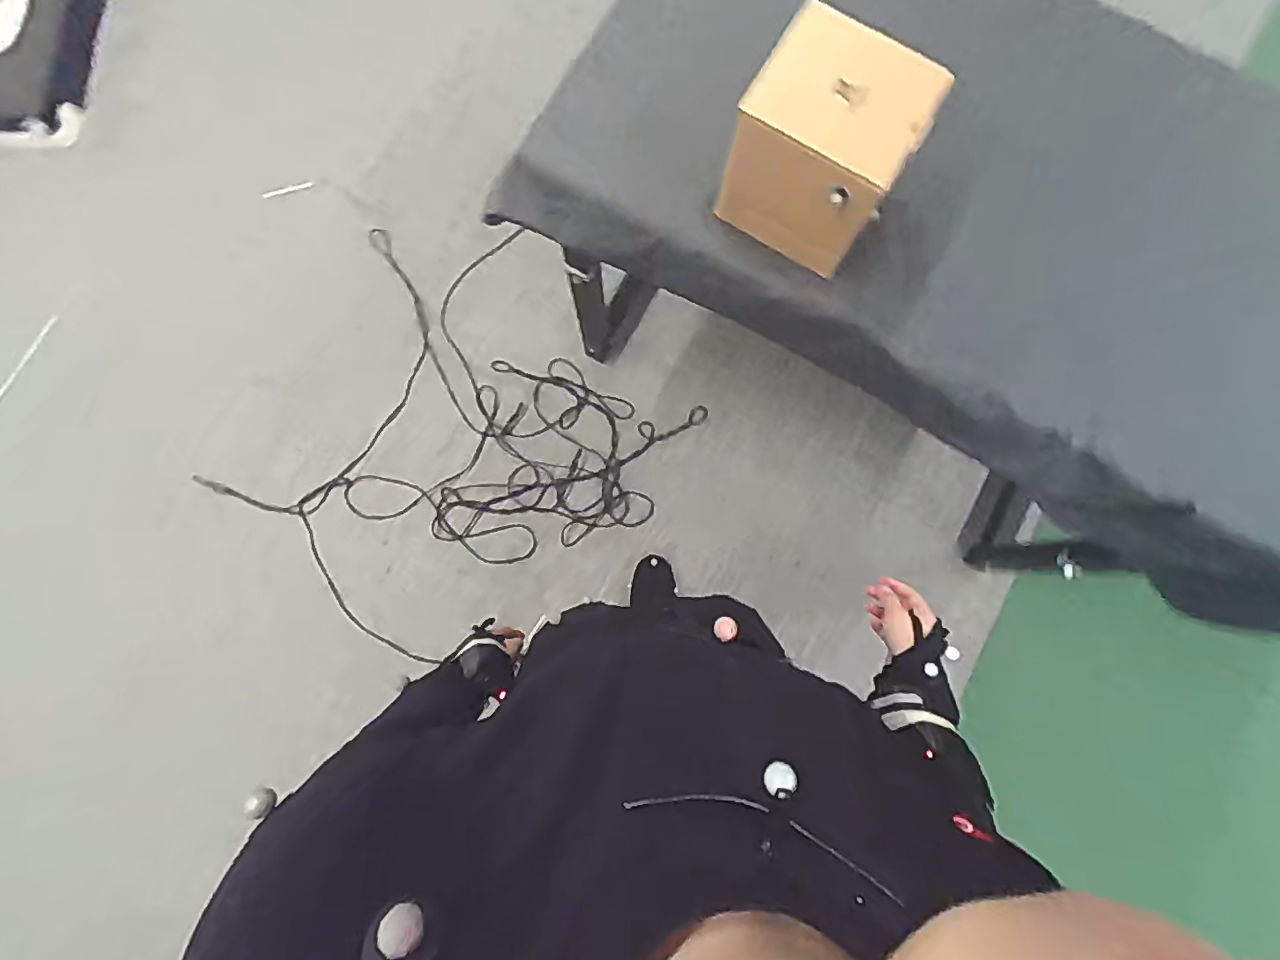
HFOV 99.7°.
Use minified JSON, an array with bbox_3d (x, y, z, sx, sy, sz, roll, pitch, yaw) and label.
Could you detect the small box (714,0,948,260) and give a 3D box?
[{"bbox_3d":[0.206,-0.397,0.637,0.179,0.176,0.168,30,81,3],"label":"small box"}]
